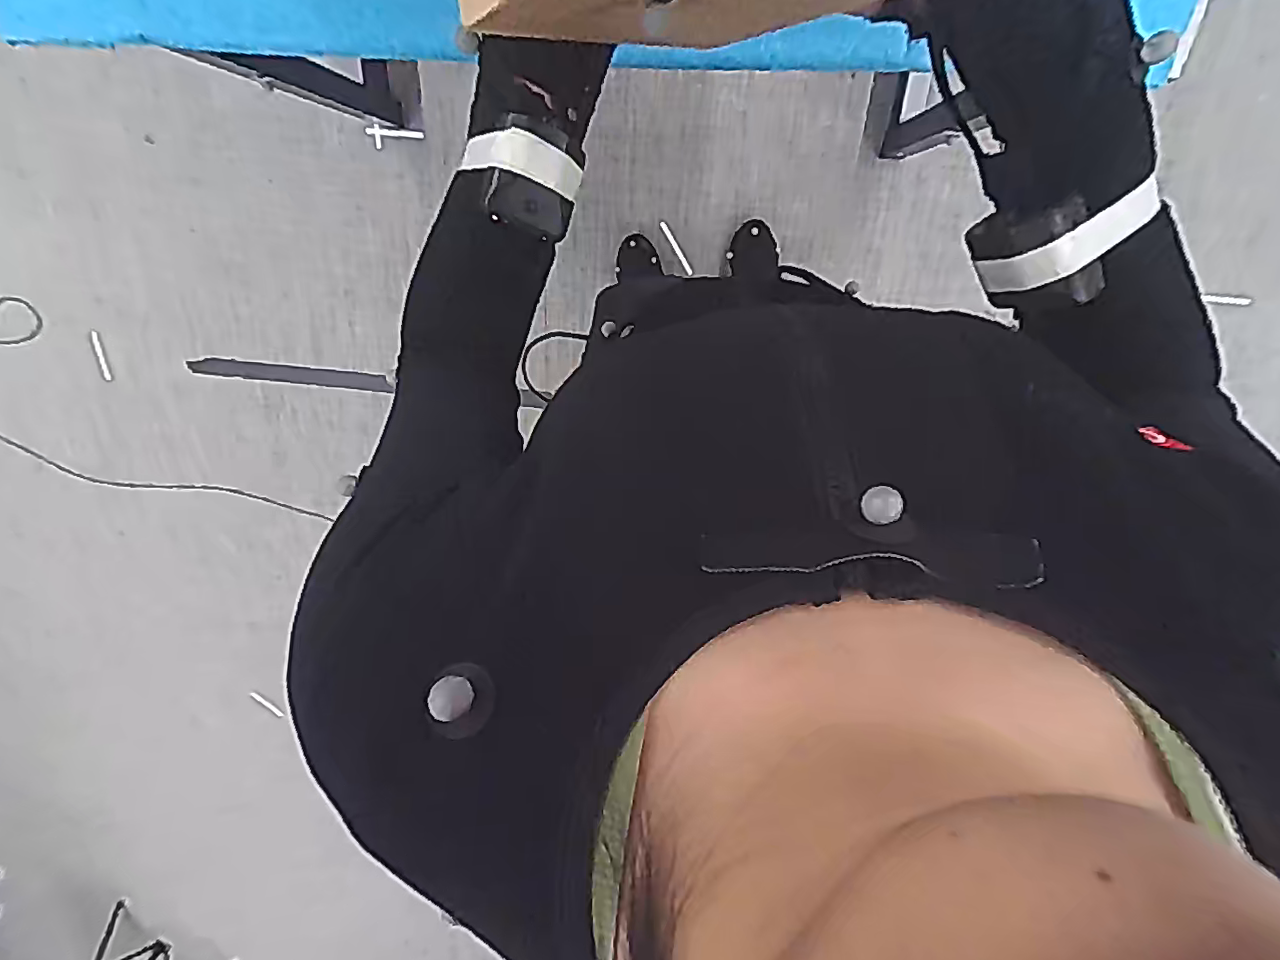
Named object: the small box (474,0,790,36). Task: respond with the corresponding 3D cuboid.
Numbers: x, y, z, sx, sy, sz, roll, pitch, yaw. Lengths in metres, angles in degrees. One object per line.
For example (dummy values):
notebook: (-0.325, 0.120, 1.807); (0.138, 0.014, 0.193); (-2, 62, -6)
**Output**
small box: (0.011, -0.316, 0.239); (0.179, 0.176, 0.168); (-19, 124, -22)
